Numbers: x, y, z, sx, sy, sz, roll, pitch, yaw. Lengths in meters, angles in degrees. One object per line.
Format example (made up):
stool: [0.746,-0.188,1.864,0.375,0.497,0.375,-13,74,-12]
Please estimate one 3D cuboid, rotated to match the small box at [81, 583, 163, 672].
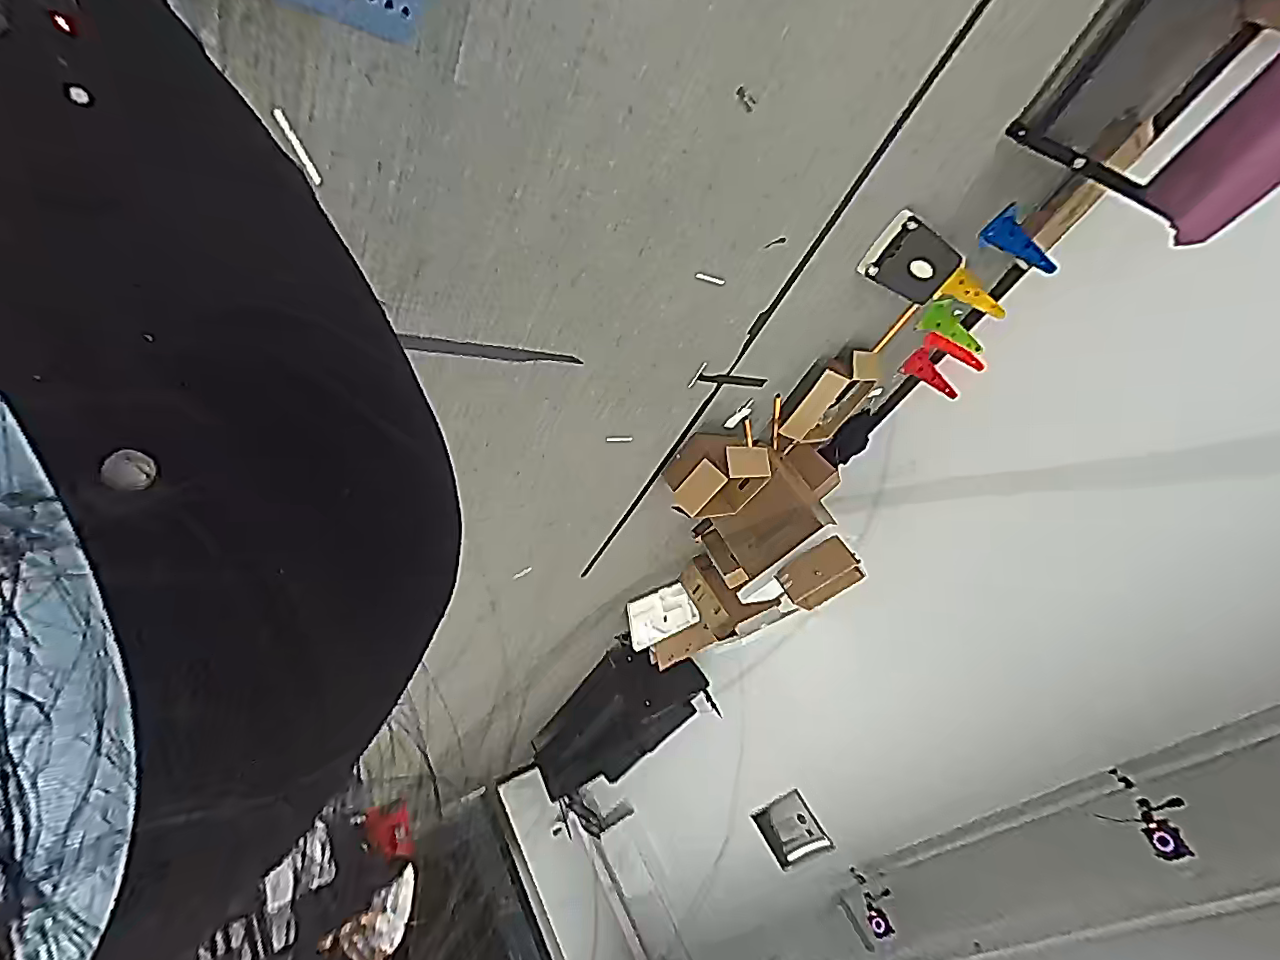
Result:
small box: [-1.542,0.435,1.613,0.168,0.176,0.179,-7,141,-43]
